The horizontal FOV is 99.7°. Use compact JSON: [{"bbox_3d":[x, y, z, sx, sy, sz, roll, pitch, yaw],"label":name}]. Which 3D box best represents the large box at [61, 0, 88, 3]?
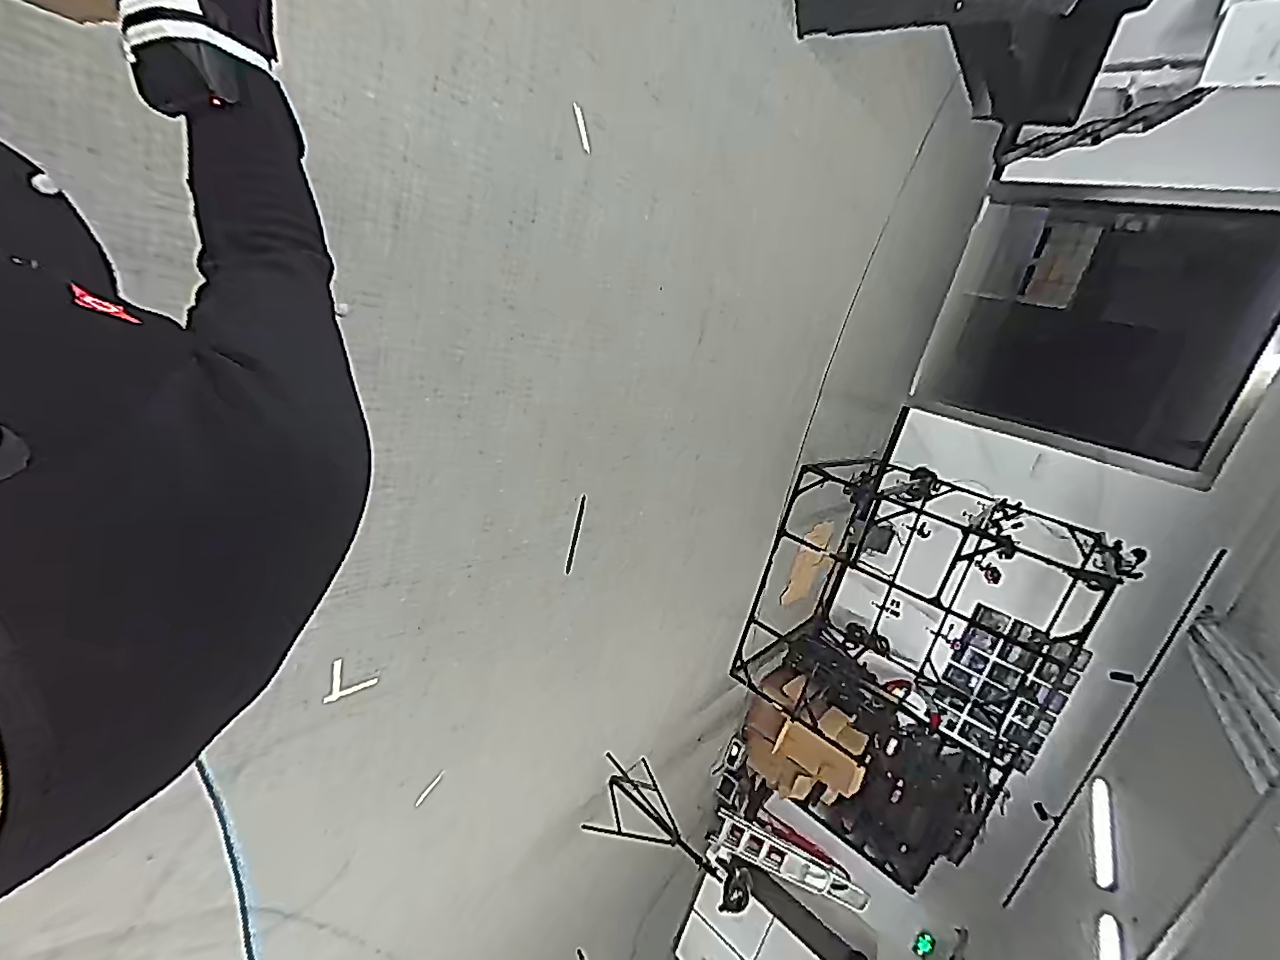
[{"bbox_3d":[-0.530,-0.532,0.265,0.408,0.320,0.320,-11,124,-54],"label":"large box"}]
